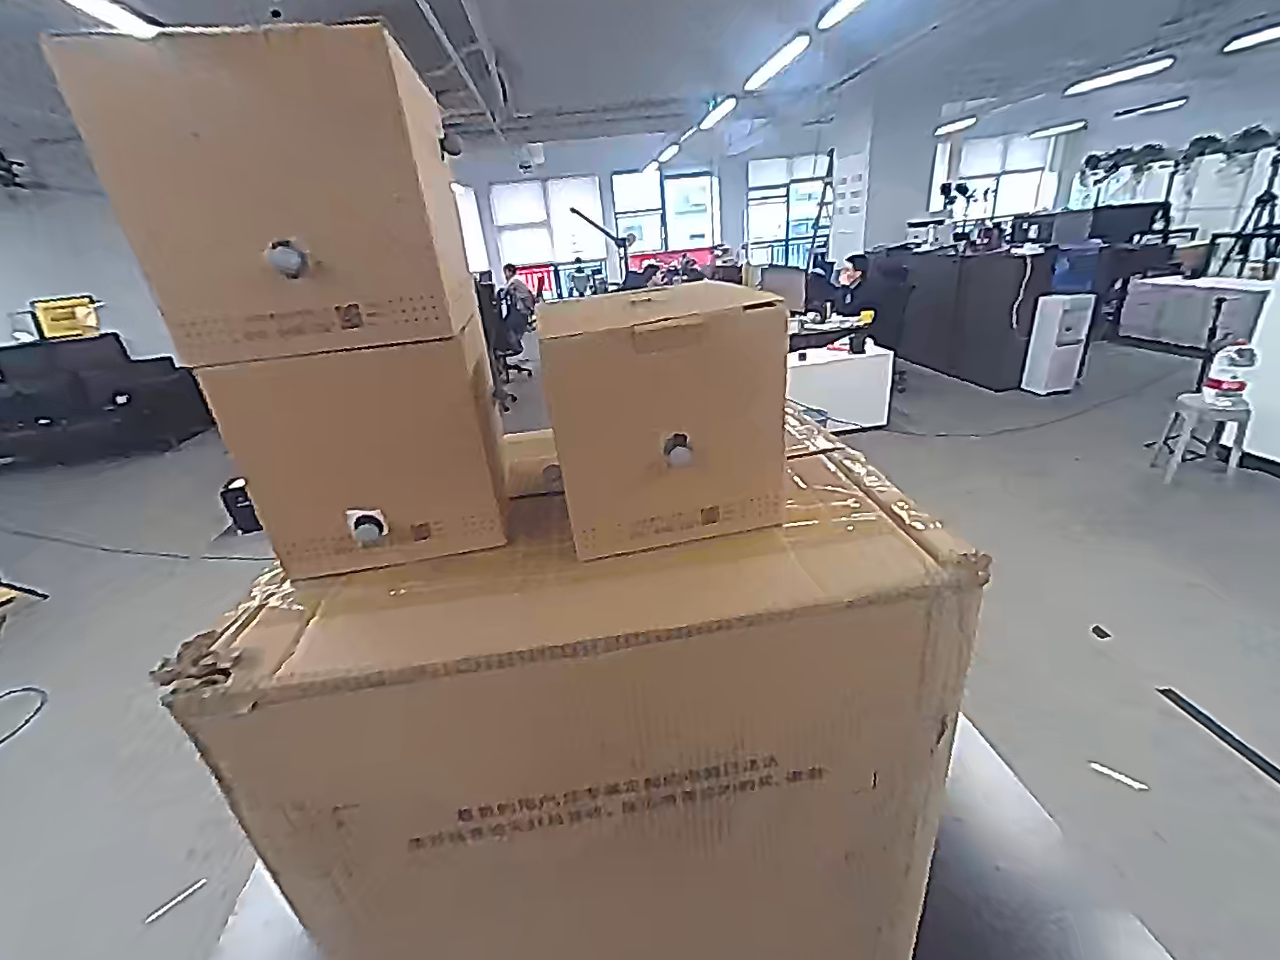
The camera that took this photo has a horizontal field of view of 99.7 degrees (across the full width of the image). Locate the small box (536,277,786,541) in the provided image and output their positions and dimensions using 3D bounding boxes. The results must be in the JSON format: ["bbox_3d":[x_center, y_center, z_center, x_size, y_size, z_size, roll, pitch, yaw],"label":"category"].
[{"bbox_3d":[0.011,-0.062,0.448,0.168,0.176,0.179,-9,27,-7],"label":"small box"}]

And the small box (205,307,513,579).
[{"bbox_3d":[-0.205,-0.042,0.457,0.168,0.176,0.179,-10,26,-9],"label":"small box"}]

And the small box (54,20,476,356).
[{"bbox_3d":[-0.221,-0.190,0.385,0.168,0.176,0.179,-9,25,-7],"label":"small box"}]
